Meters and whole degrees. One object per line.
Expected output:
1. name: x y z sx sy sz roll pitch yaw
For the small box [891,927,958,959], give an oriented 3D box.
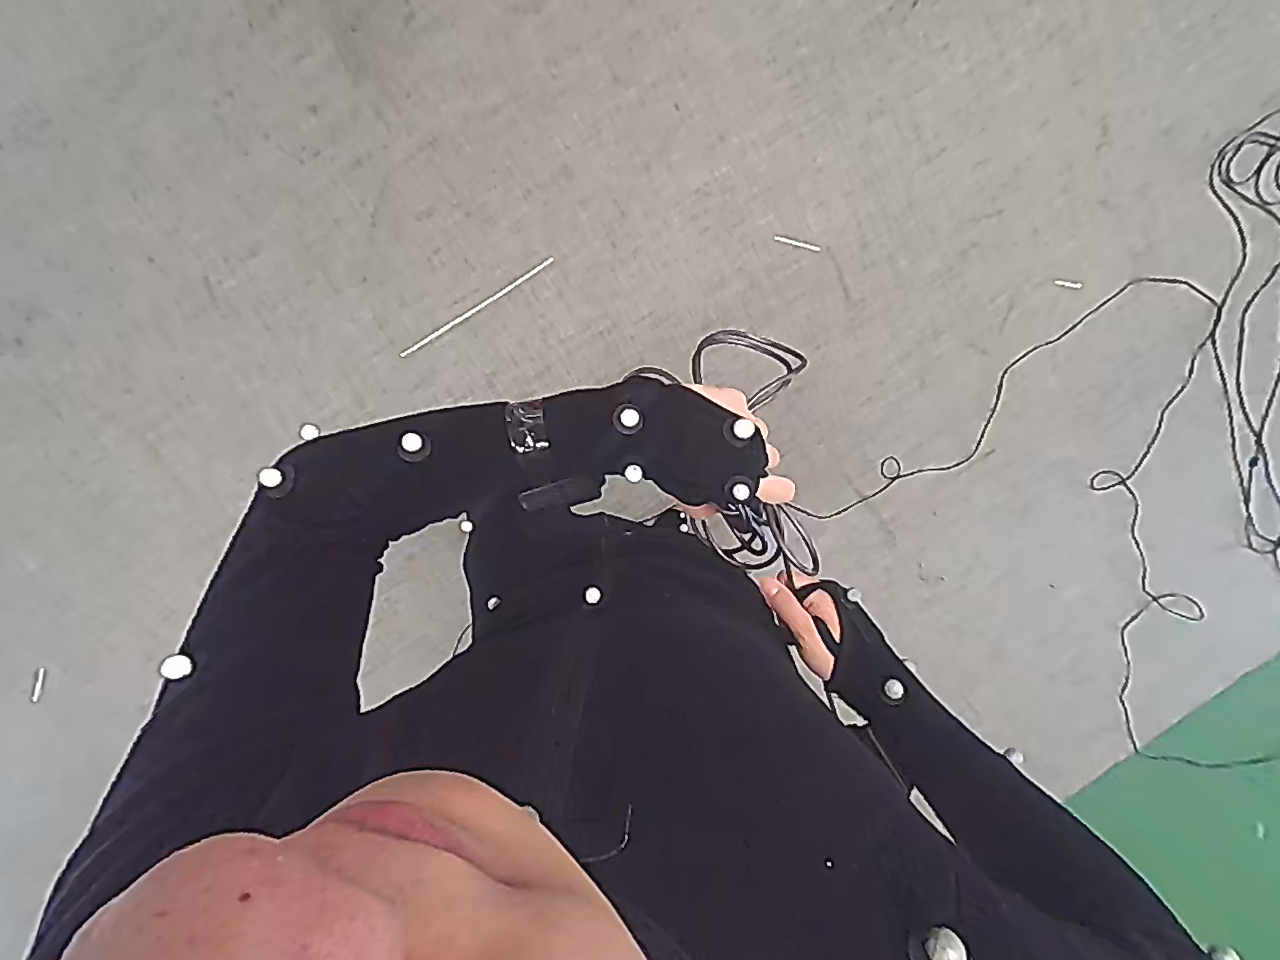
1. small box: 0.915 1.533 1.661 0.168 0.176 0.179 -37 101 0
